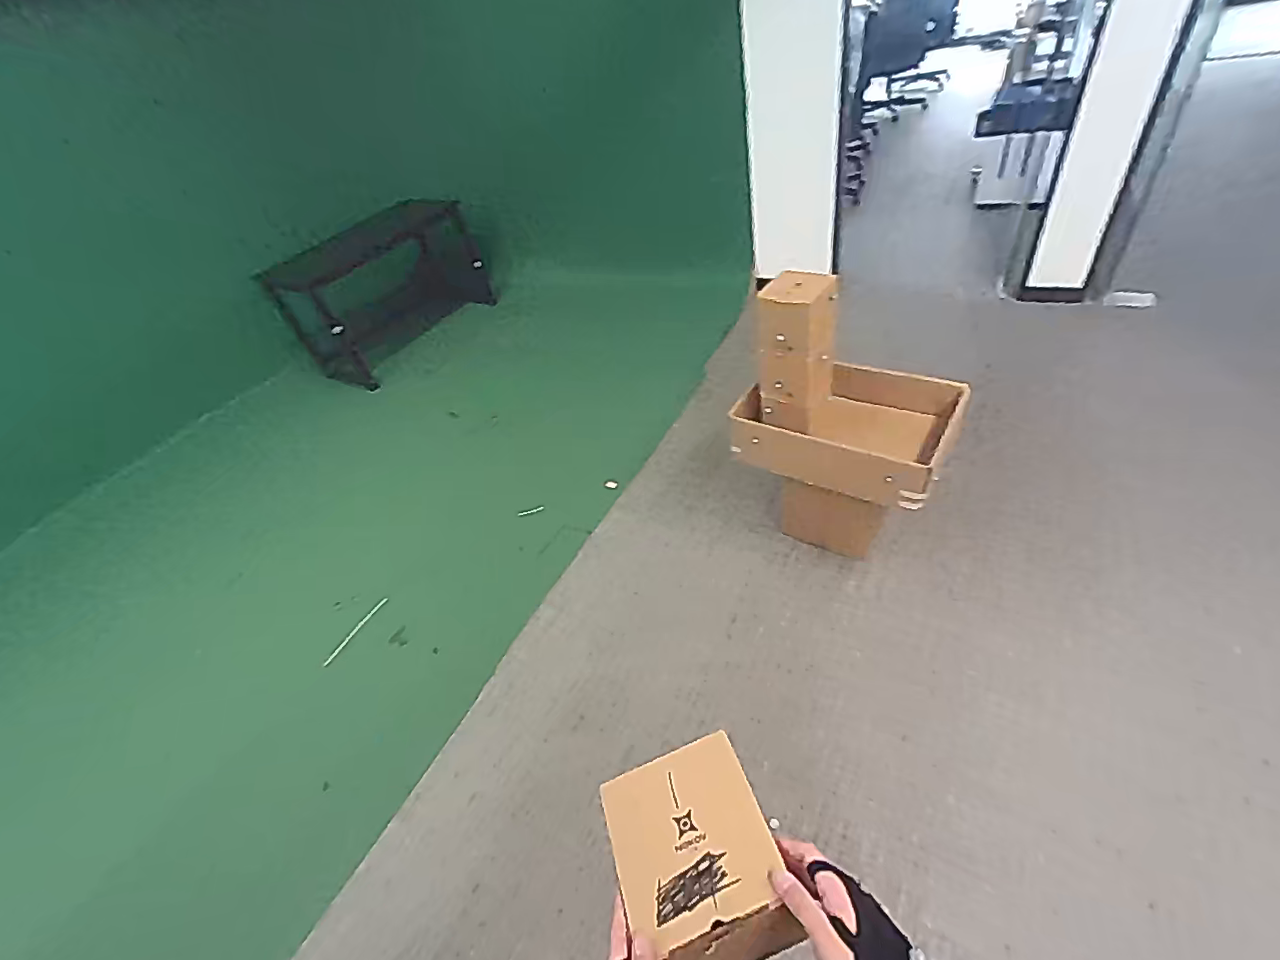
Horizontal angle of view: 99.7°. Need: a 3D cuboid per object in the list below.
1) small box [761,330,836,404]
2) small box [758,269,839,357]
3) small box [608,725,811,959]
[{"bbox_3d":[0.487,-0.364,1.674,0.168,0.176,0.179,22,55,33],"label":"small box"},{"bbox_3d":[0.457,-0.484,1.564,0.168,0.176,0.179,22,55,34],"label":"small box"},{"bbox_3d":[0.080,0.428,0.623,0.168,0.176,0.179,-22,36,-2],"label":"small box"}]
